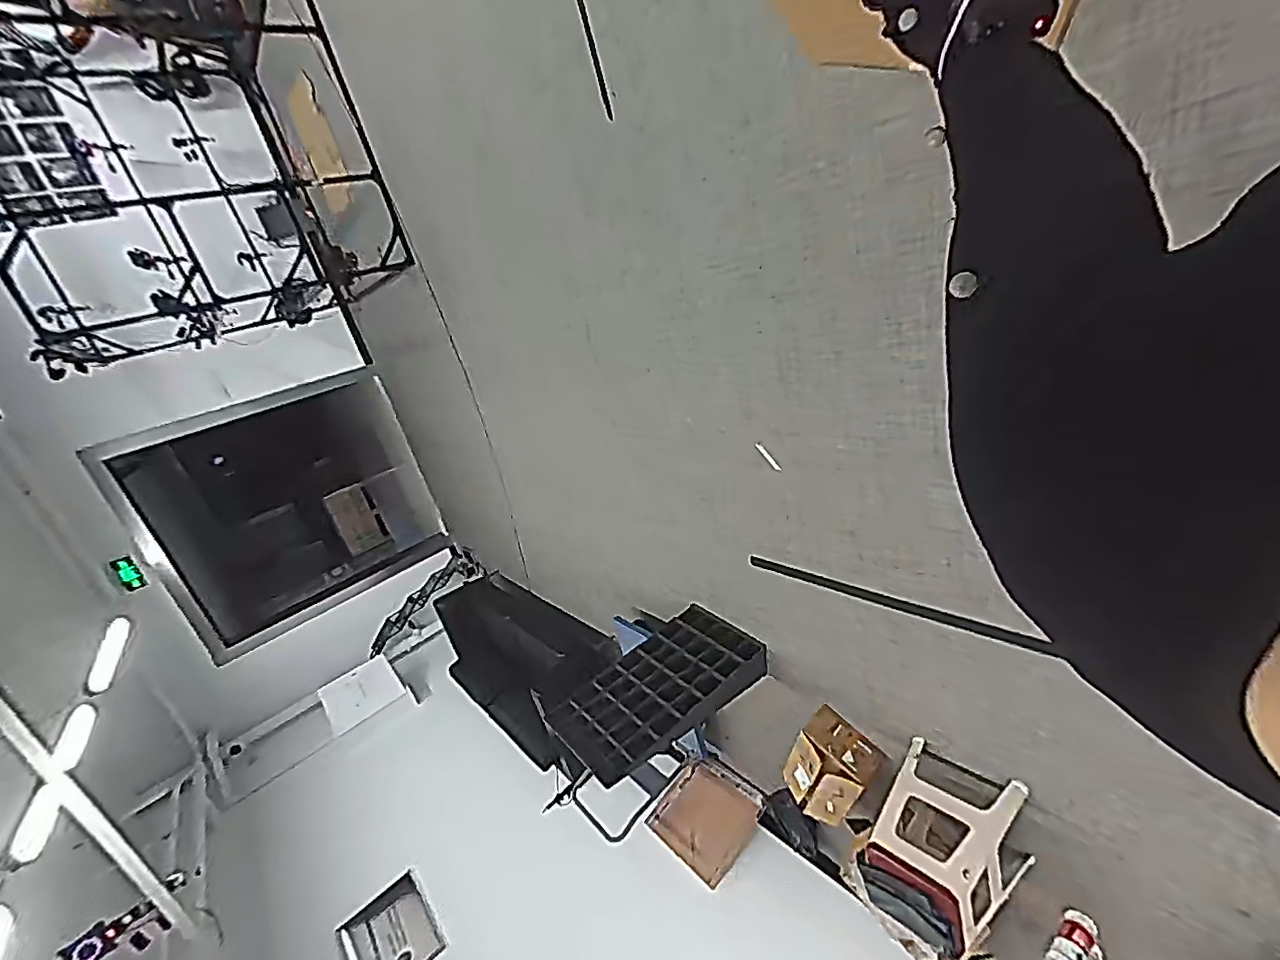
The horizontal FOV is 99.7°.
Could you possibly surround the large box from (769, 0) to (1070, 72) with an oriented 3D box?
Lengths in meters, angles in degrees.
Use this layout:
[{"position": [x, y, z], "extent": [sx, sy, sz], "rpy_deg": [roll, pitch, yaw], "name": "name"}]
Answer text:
[{"position": [0.342, -0.705, 0.546], "extent": [0.320, 0.320, 0.408], "rpy_deg": [22, 119, 23], "name": "large box"}]
